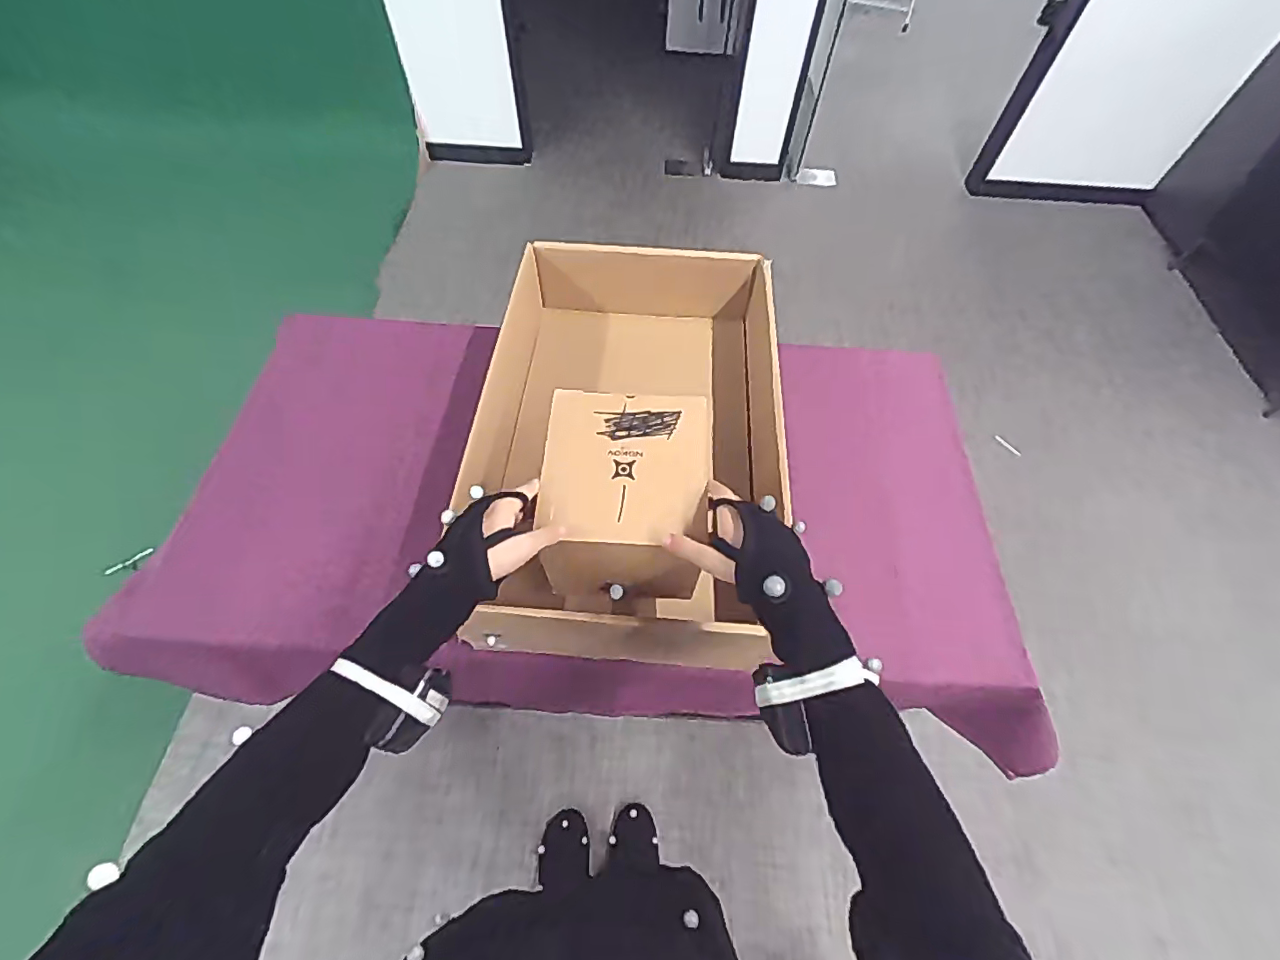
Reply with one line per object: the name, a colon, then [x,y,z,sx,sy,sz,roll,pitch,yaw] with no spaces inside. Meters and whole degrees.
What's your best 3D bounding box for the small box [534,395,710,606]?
small box: [-0.014,0.028,0.607,0.168,0.176,0.179,3,62,1]
